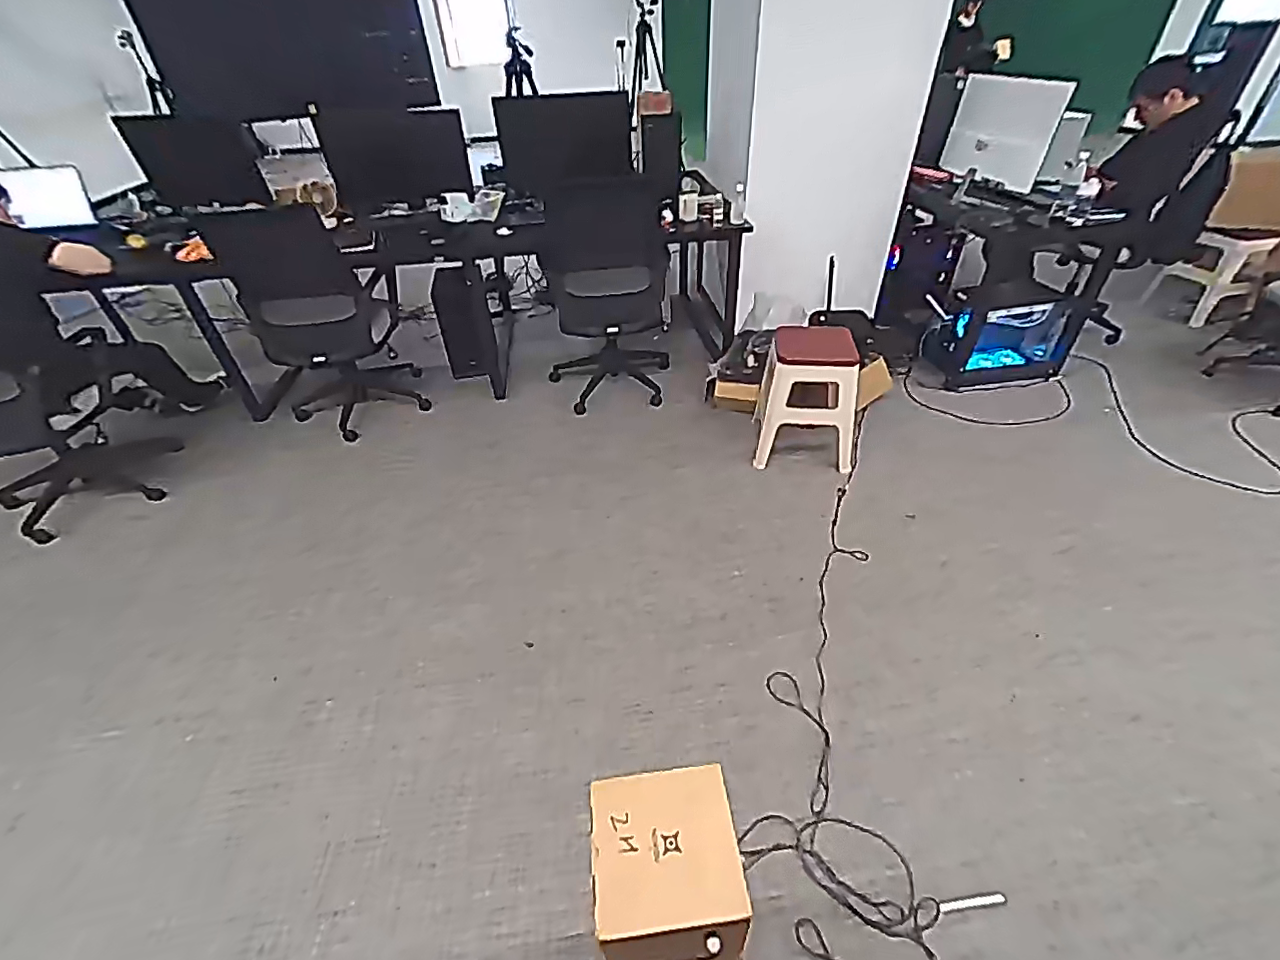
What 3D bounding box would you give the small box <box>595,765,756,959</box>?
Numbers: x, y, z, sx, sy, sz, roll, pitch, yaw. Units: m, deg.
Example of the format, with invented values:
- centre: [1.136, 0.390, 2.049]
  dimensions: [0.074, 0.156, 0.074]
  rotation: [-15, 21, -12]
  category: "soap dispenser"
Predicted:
- centre: [0.039, 0.496, 0.698]
  dimensions: [0.179, 0.176, 0.168]
  rotation: [-7, 39, -2]
  category: "small box"
